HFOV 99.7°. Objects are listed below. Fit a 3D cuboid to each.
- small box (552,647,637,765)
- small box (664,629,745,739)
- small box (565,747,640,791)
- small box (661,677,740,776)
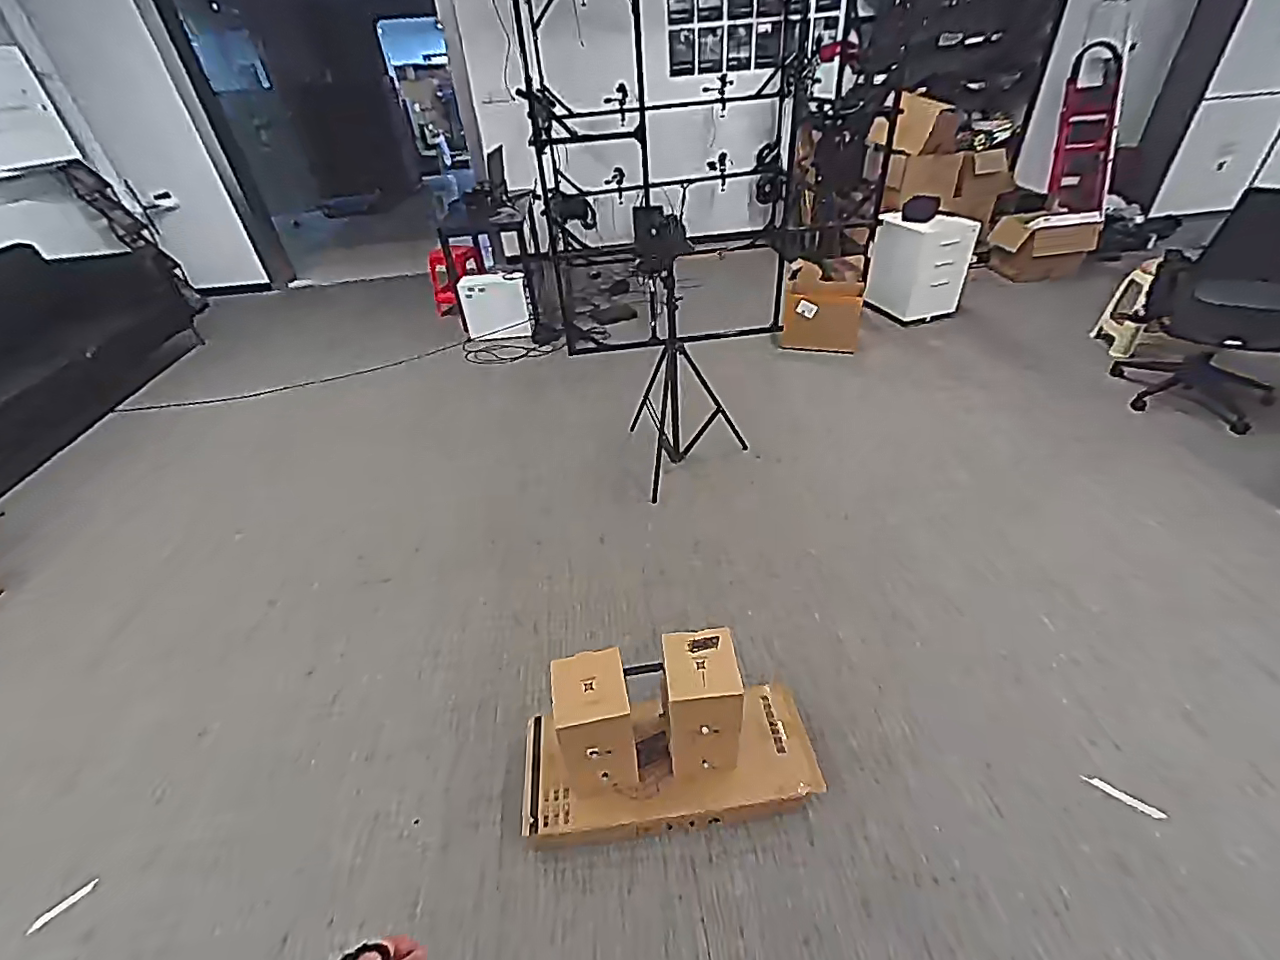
[{"bbox_3d":[-0.107,0.521,1.251,0.168,0.176,0.179,-11,38,-7],"label":"small box"},{"bbox_3d":[0.145,0.481,1.275,0.168,0.176,0.179,-6,37,0],"label":"small box"},{"bbox_3d":[-0.096,0.650,1.352,0.168,0.176,0.179,-9,38,-5],"label":"small box"},{"bbox_3d":[0.149,0.614,1.371,0.168,0.176,0.179,-8,37,-3],"label":"small box"}]
